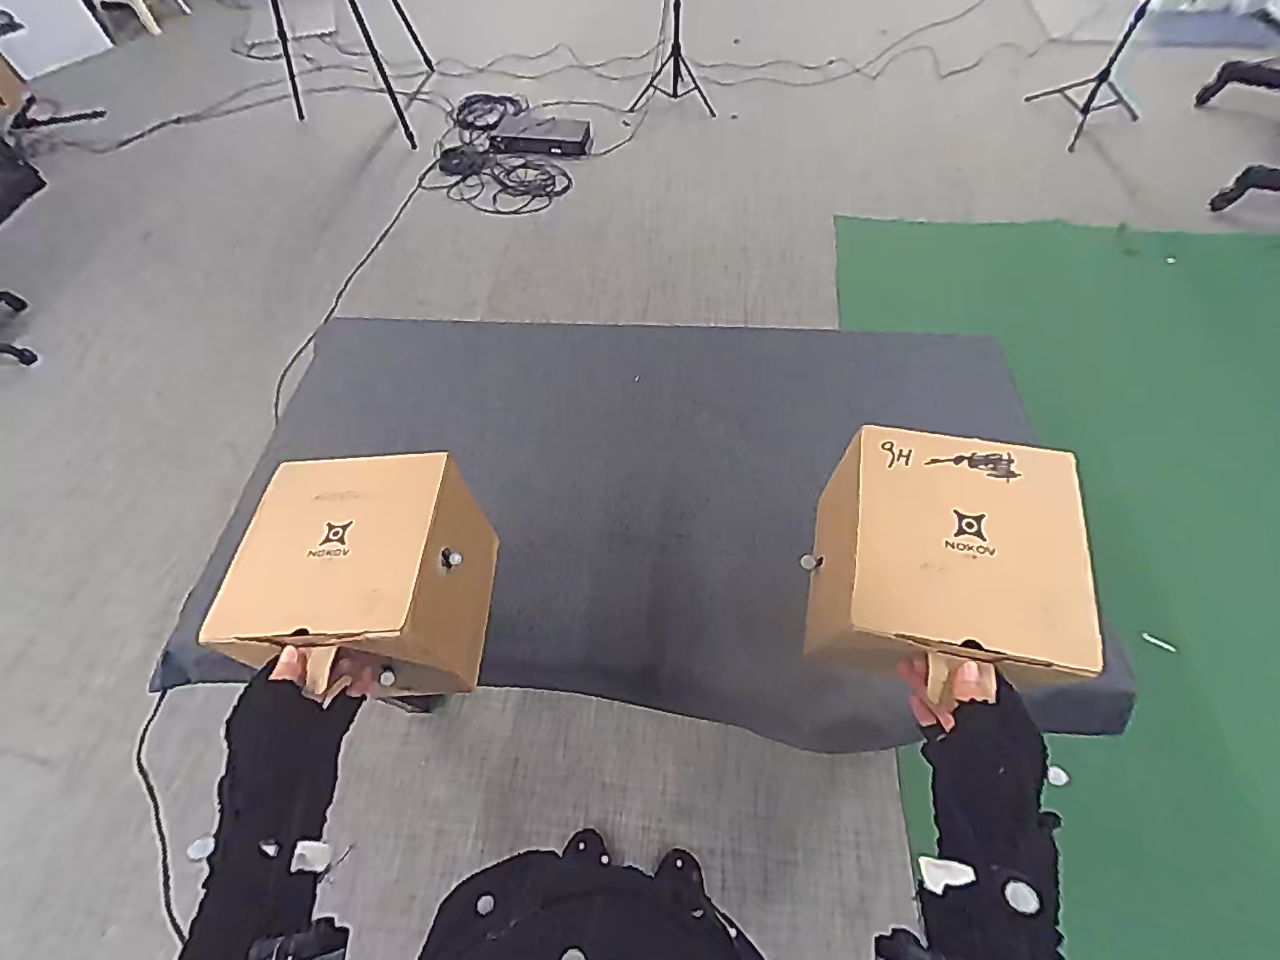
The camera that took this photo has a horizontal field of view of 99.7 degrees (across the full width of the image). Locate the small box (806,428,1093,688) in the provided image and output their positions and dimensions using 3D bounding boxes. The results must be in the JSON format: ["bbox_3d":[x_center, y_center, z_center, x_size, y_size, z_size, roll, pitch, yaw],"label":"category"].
[{"bbox_3d":[0.252,0.078,0.483,0.168,0.176,0.179,10,67,8],"label":"small box"}]

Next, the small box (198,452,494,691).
[{"bbox_3d":[-0.251,0.095,0.519,0.168,0.176,0.179,-3,53,3],"label":"small box"}]
